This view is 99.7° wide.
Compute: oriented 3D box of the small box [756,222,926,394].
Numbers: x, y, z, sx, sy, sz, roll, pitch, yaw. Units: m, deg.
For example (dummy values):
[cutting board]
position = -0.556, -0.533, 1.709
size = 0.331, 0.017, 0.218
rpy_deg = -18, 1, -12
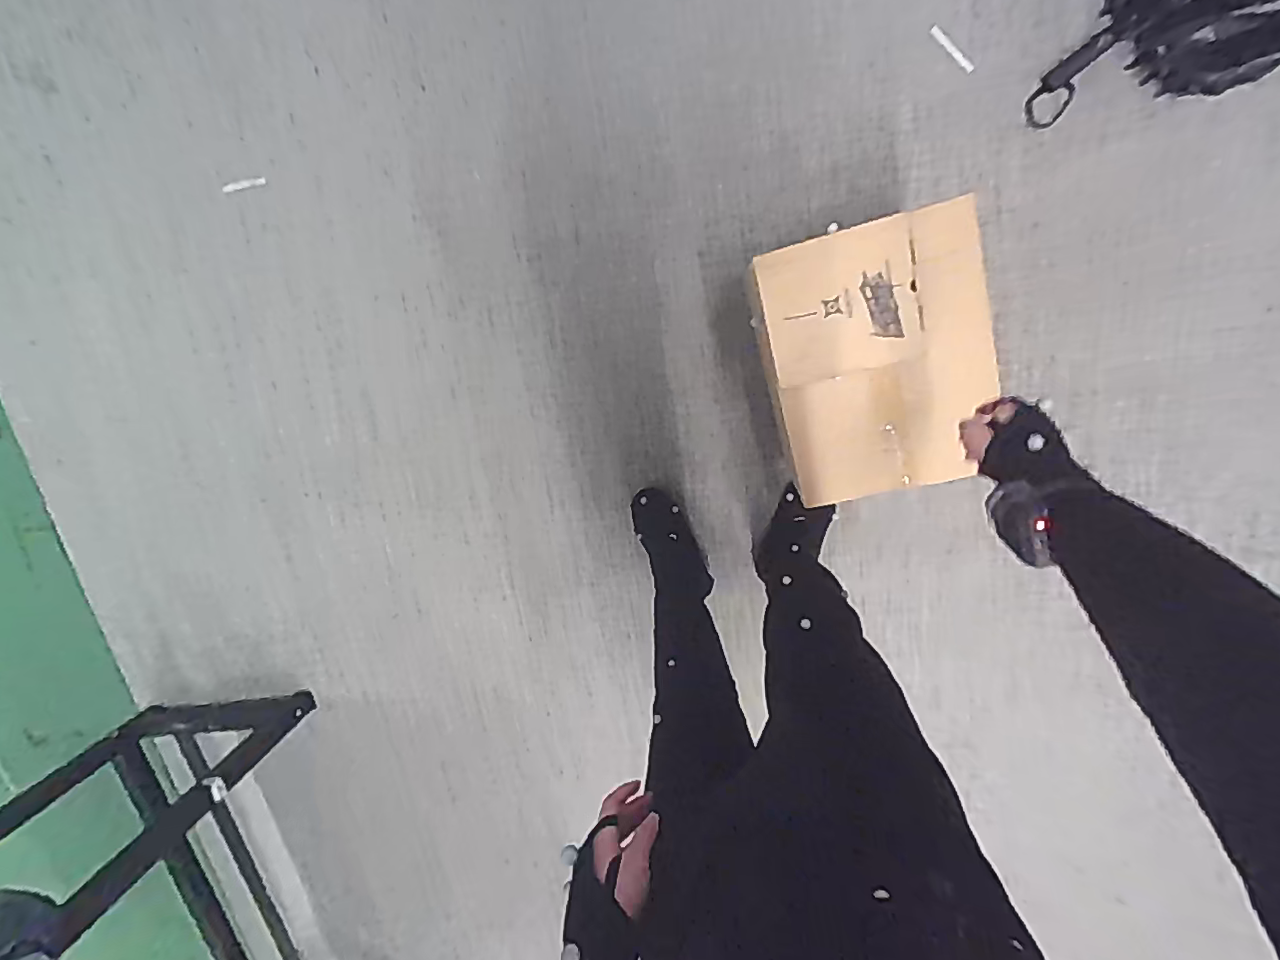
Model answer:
[small box]
position = 0.256, -0.224, 0.722
size = 0.179, 0.176, 0.168
rpy_deg = -12, 104, 16
